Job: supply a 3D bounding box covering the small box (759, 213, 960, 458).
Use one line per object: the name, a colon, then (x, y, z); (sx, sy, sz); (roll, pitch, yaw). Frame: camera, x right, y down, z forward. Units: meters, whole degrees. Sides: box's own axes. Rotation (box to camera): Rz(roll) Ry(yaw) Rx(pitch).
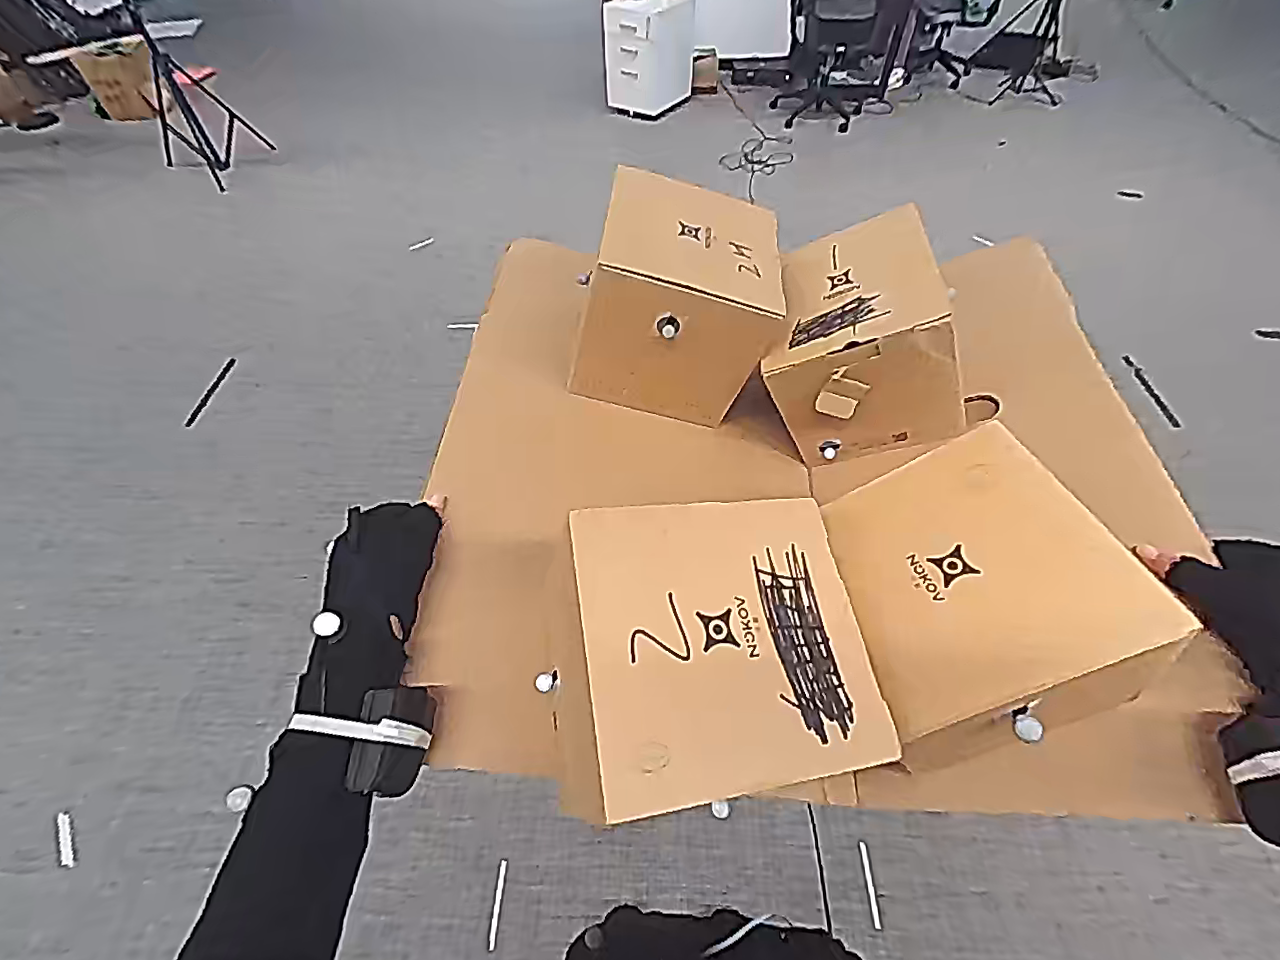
small box: (0.237, -0.141, 0.591); (0.168, 0.176, 0.179); (-13, 51, 27)
